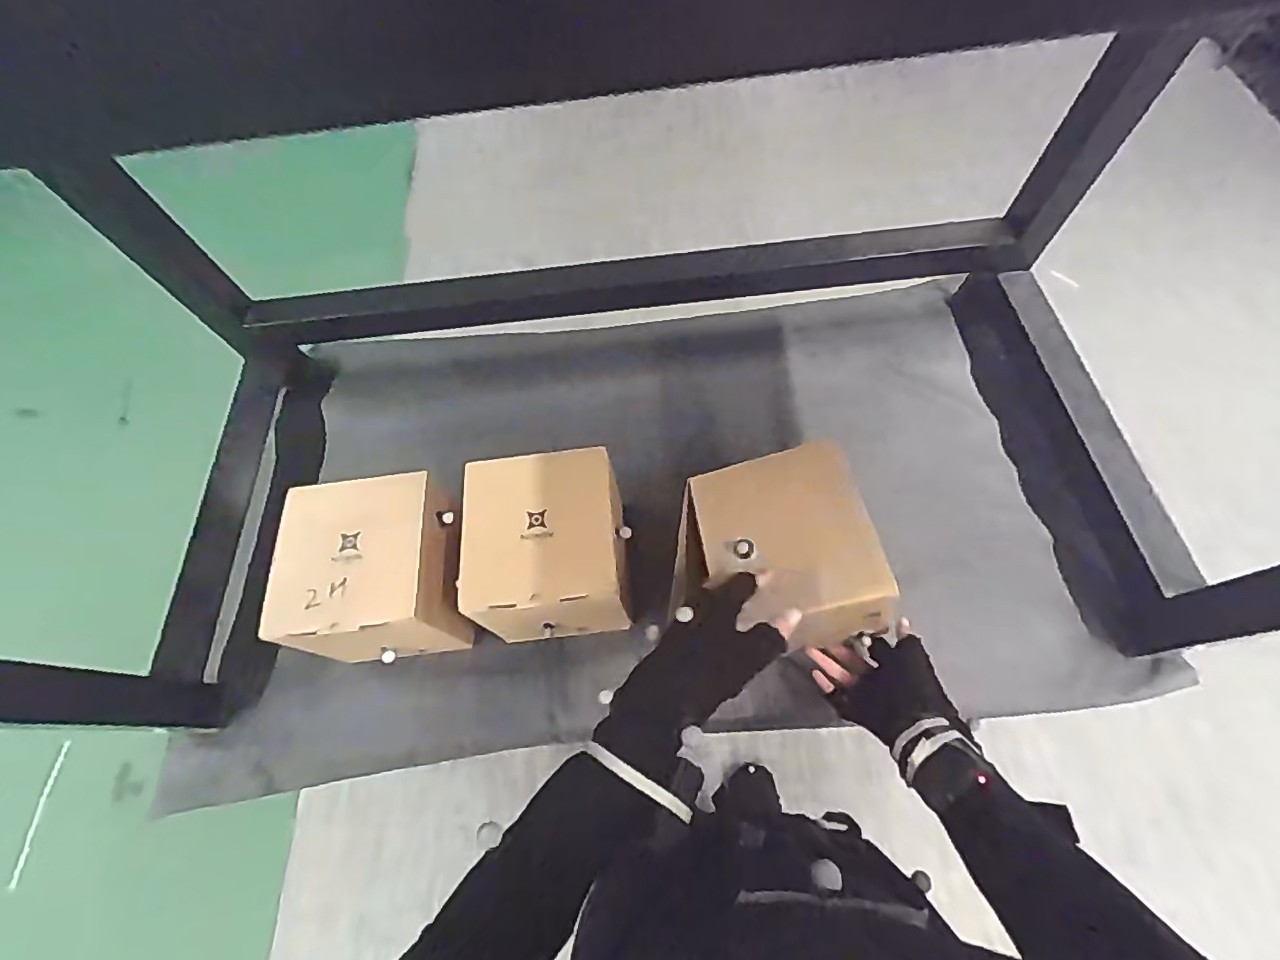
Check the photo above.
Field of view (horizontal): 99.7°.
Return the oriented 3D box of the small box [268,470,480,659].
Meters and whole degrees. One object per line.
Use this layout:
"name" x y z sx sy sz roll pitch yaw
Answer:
"small box" -0.305 0.110 0.663 0.168 0.176 0.179 -7 63 2
